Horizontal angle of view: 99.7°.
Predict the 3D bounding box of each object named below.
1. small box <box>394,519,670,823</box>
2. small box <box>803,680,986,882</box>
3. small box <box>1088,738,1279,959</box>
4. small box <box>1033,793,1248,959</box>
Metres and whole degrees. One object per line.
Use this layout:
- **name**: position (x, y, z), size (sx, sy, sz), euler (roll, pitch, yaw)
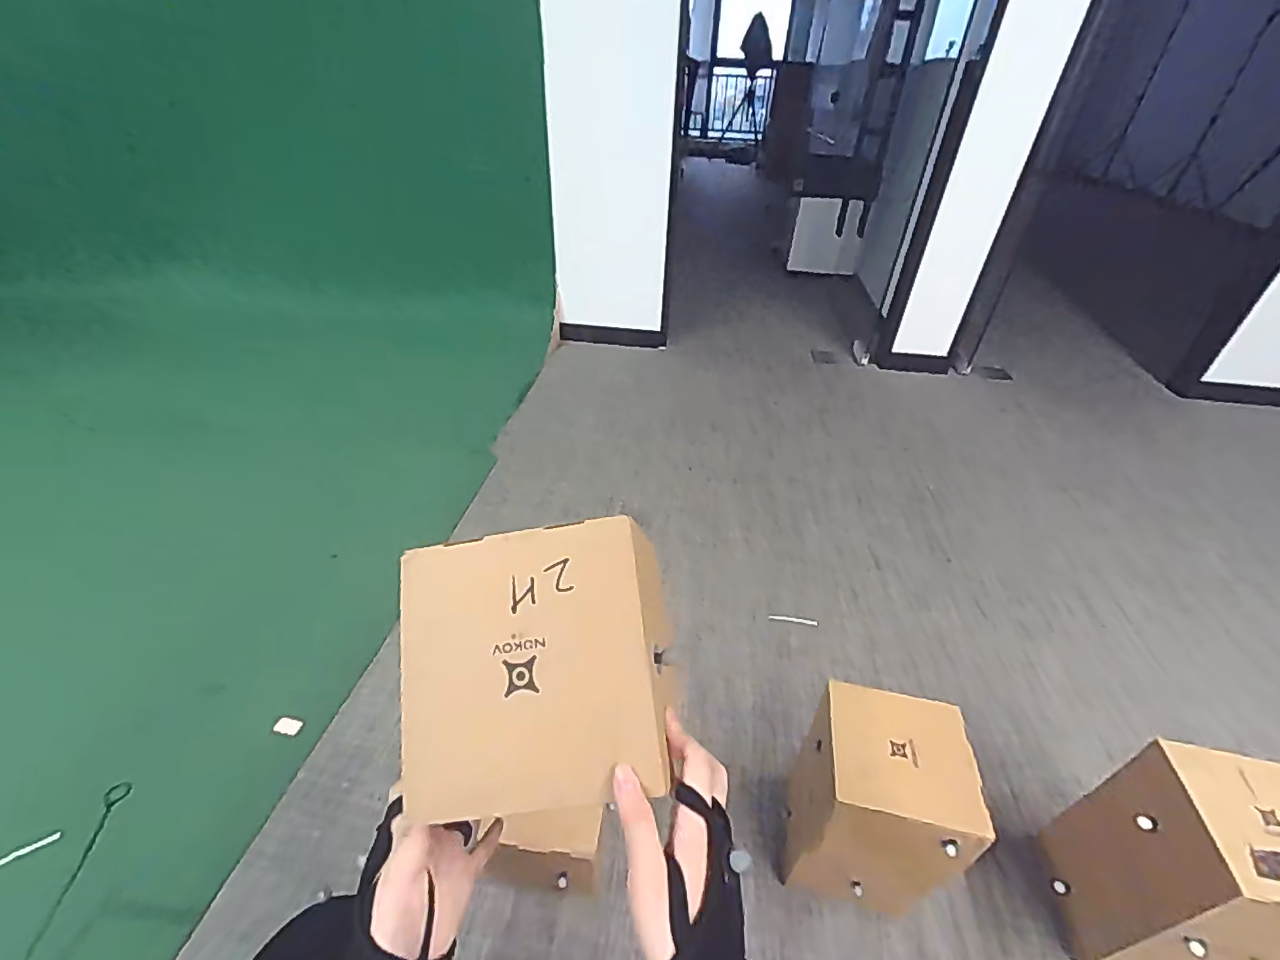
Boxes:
- **small box**: position (-0.071, 0.142, 0.429), size (0.168, 0.176, 0.179), euler (-9, 72, 4)
- **small box**: position (0.321, 0.404, 0.729), size (0.179, 0.176, 0.168), euler (9, 37, 9)
- **small box**: position (0.718, 0.462, 0.672), size (0.168, 0.176, 0.179), euler (9, 37, 9)
- **small box**: position (0.715, 0.591, 0.776), size (0.168, 0.176, 0.179), euler (9, 38, 8)
